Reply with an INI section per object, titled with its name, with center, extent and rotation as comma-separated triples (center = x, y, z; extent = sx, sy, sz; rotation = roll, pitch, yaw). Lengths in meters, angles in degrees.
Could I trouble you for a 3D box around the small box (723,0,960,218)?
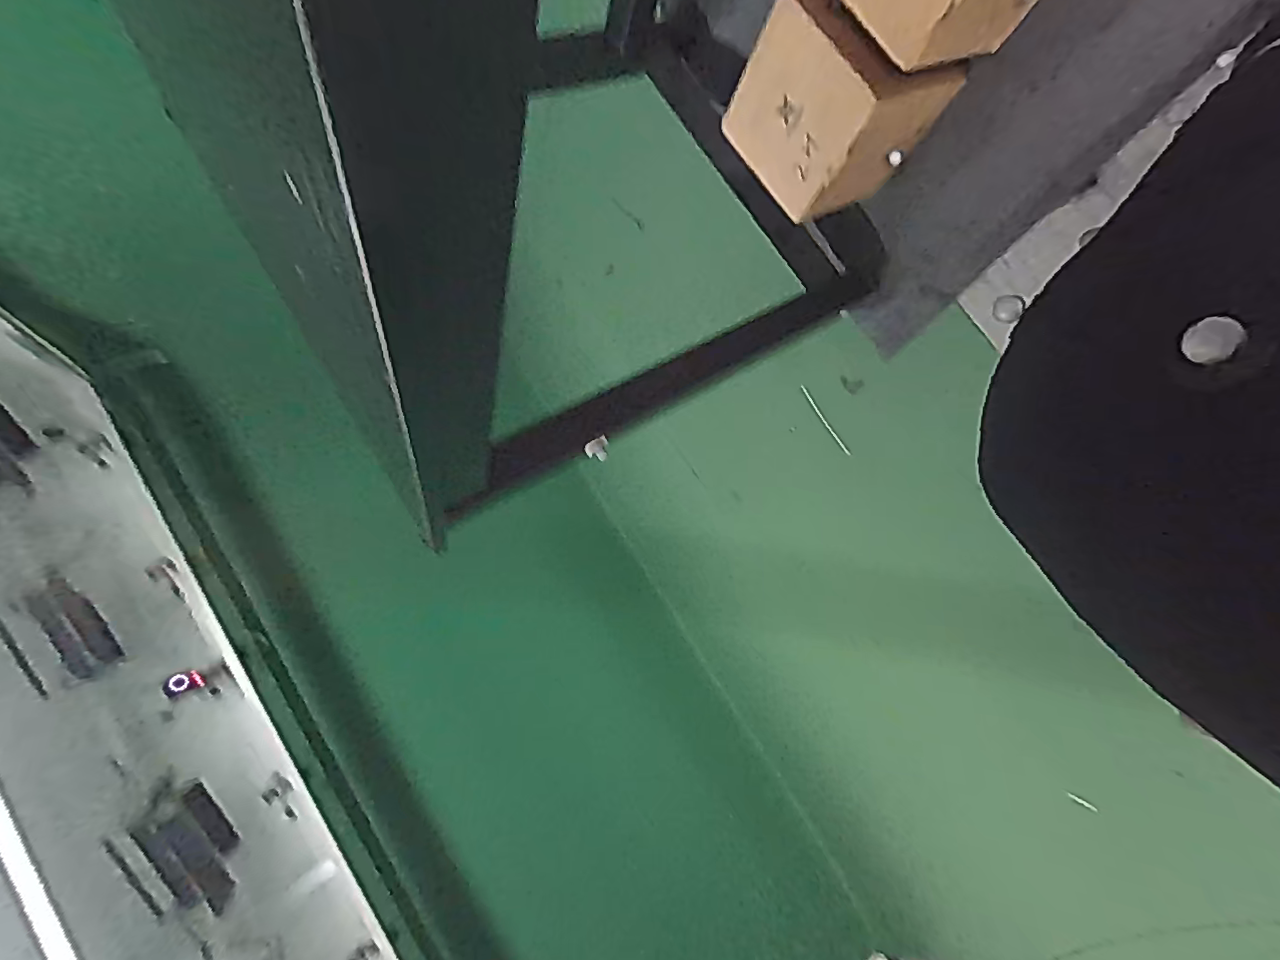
[small box]
center = 0.243, -0.469, 0.673
extent = 0.179, 0.176, 0.168
rotation = 56, 156, 9
